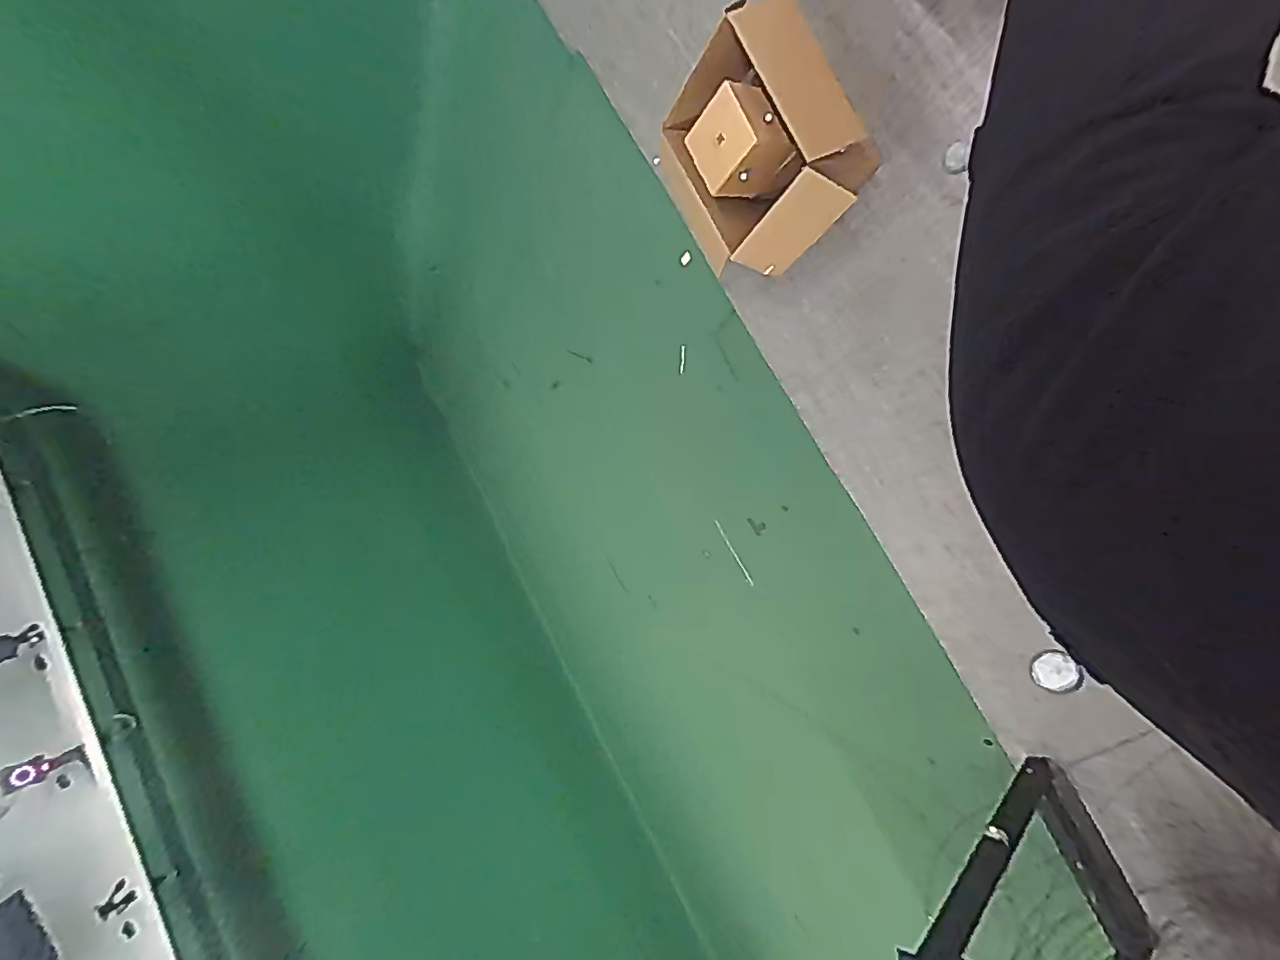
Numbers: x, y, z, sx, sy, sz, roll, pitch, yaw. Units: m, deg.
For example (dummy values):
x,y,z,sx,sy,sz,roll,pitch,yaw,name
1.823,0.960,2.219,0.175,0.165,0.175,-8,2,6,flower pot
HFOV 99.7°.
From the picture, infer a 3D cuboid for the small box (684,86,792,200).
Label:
x,y,z,sx,sy,sz,roll,pitch,yaw,name
0.250,-0.828,1.342,0.179,0.176,0.168,-33,82,54,small box
